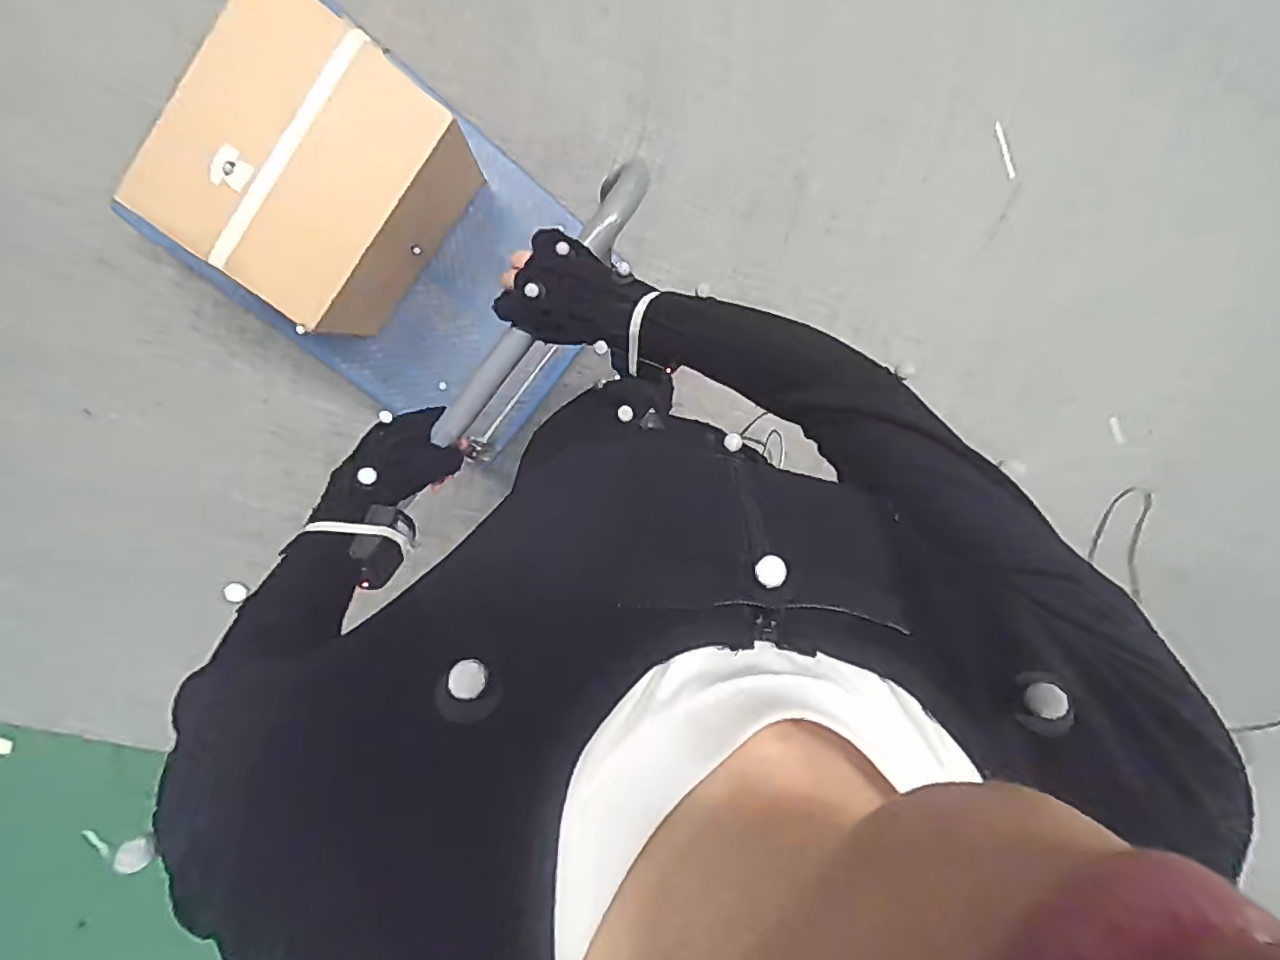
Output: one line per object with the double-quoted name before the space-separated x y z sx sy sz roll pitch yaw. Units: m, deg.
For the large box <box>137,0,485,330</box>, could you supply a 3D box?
"large box" -0.527 -0.522 0.953 0.320 0.320 0.408 36 97 -14
